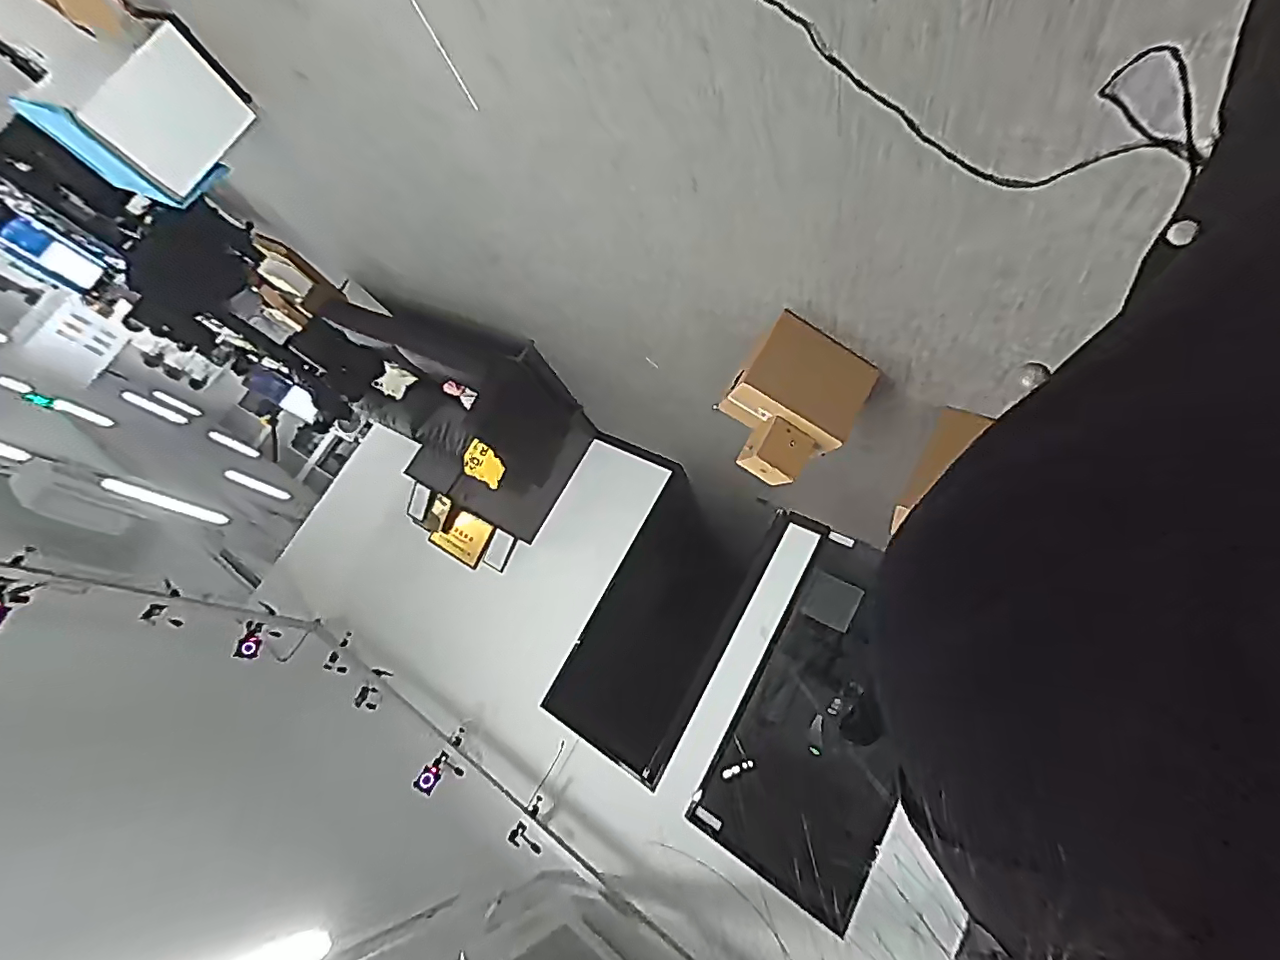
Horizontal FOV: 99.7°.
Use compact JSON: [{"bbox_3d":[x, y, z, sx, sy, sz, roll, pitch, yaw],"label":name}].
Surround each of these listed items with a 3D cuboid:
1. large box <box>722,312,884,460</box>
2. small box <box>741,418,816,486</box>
[{"bbox_3d":[0.577,-0.325,1.951,0.408,0.320,0.320,32,168,-2],"label":"large box"},{"bbox_3d":[0.492,-0.096,1.913,0.168,0.176,0.179,32,169,-7],"label":"small box"}]
